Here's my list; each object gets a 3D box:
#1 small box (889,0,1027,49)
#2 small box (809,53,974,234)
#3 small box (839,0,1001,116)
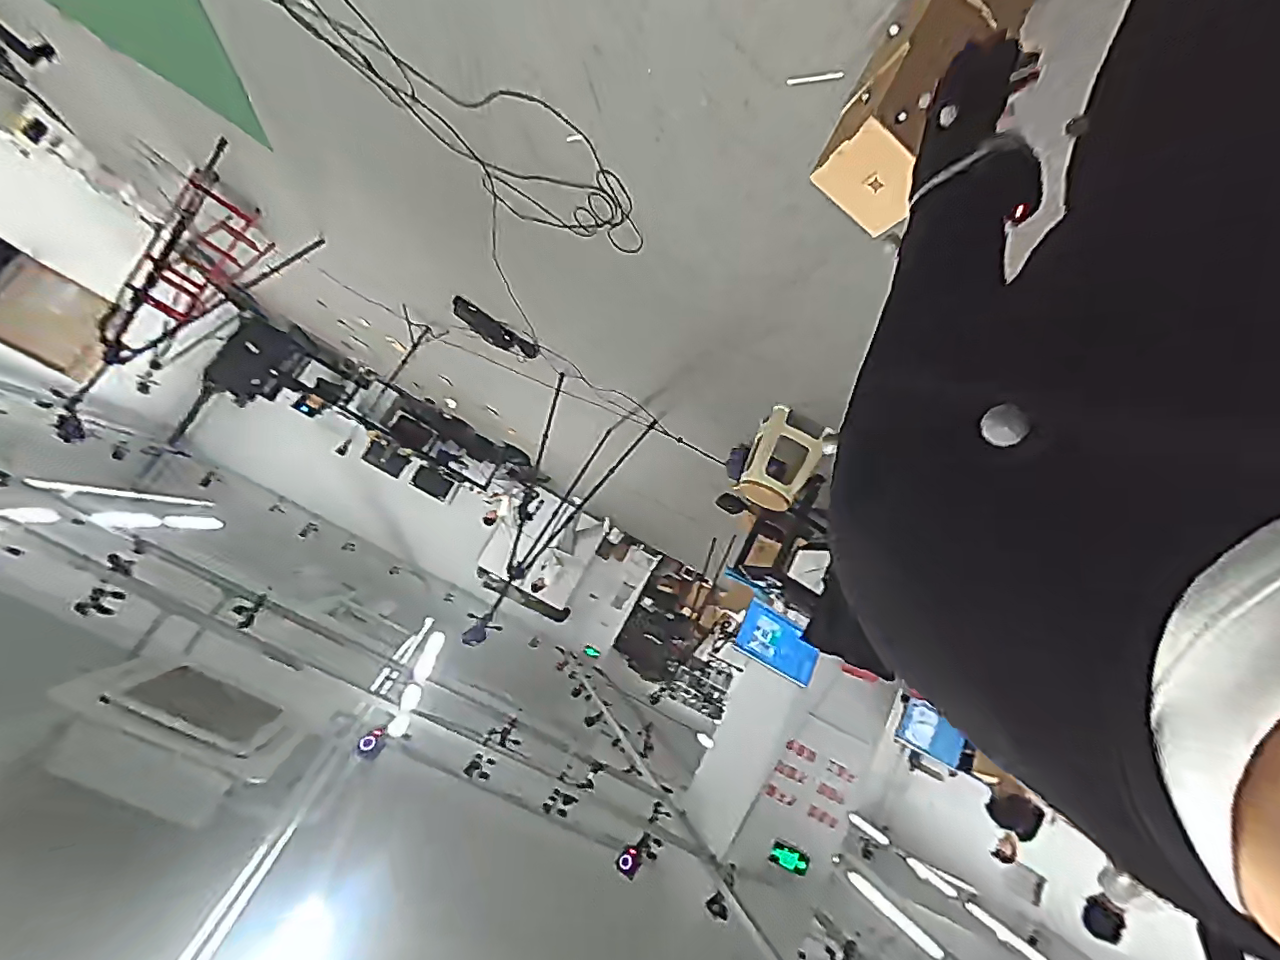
[{"bbox_3d":[0.592,-0.872,1.019,0.168,0.176,0.179,32,167,-14],"label":"small box"},{"bbox_3d":[0.443,-0.587,0.955,0.179,0.176,0.168,33,167,-14],"label":"small box"},{"bbox_3d":[0.512,-0.731,0.989,0.179,0.176,0.168,33,167,-15],"label":"small box"}]
